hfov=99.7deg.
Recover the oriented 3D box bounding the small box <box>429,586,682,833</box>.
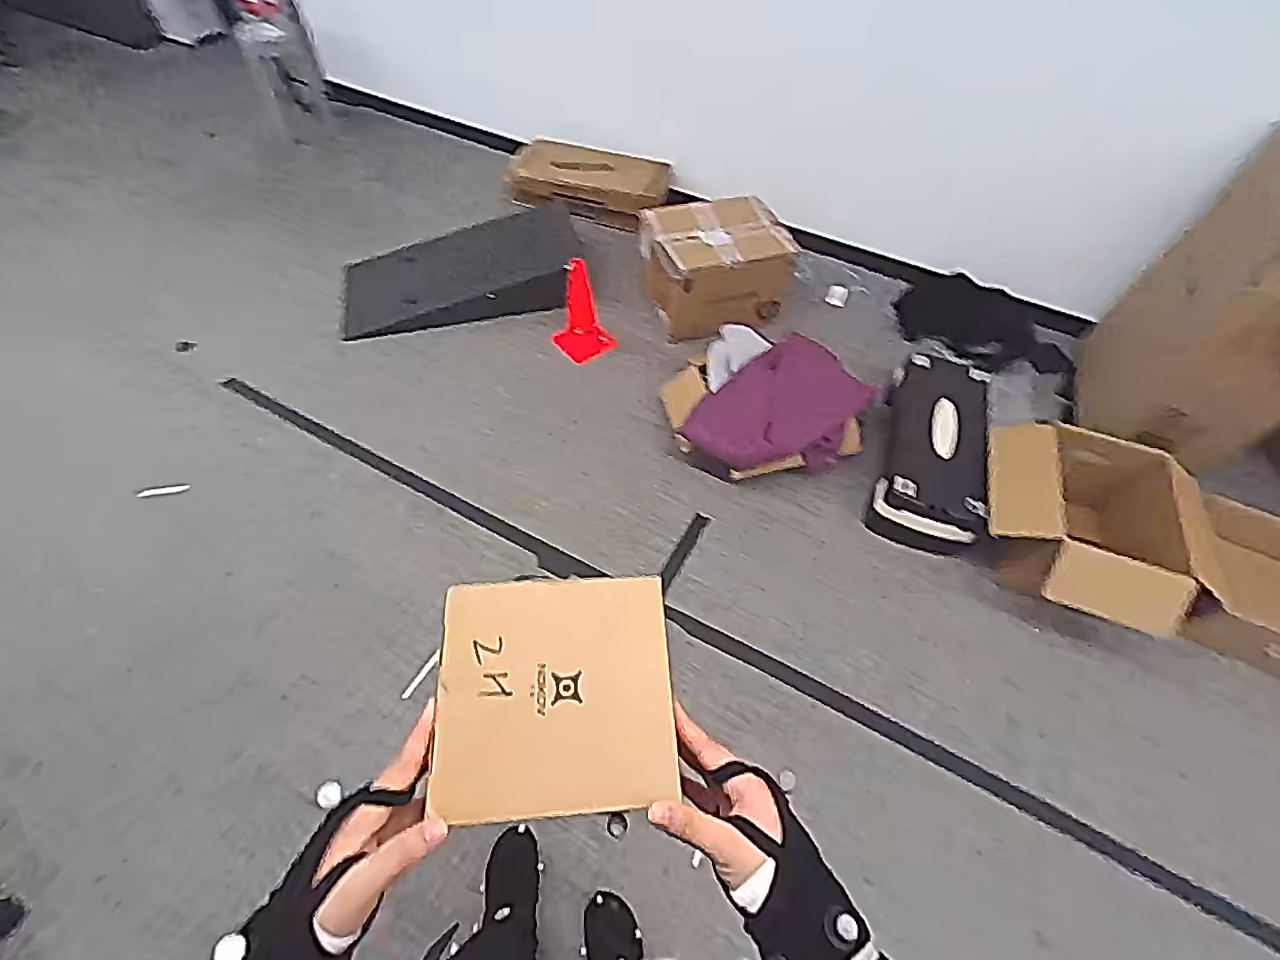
[{"bbox_3d":[-0.068,0.203,0.480,0.179,0.176,0.168,-3,60,-5],"label":"small box"}]
